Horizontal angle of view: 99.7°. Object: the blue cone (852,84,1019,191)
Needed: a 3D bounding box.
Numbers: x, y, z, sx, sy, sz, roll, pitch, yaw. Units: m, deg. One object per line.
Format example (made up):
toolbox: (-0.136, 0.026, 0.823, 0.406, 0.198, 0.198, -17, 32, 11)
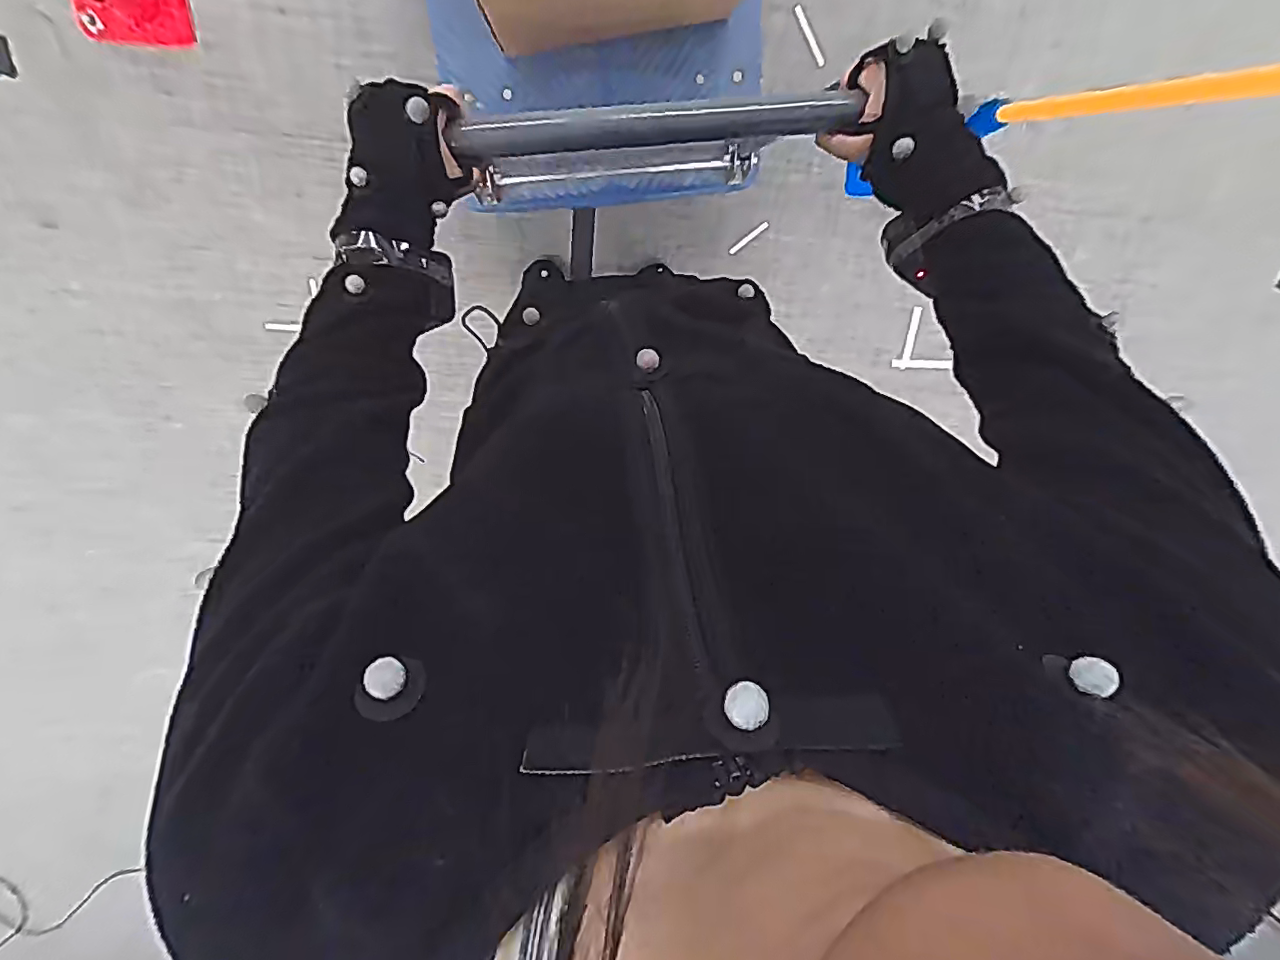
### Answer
blue cone: (0.589, -0.692, 1.060, 0.193, 0.380, 0.192, -1, 113, -6)
